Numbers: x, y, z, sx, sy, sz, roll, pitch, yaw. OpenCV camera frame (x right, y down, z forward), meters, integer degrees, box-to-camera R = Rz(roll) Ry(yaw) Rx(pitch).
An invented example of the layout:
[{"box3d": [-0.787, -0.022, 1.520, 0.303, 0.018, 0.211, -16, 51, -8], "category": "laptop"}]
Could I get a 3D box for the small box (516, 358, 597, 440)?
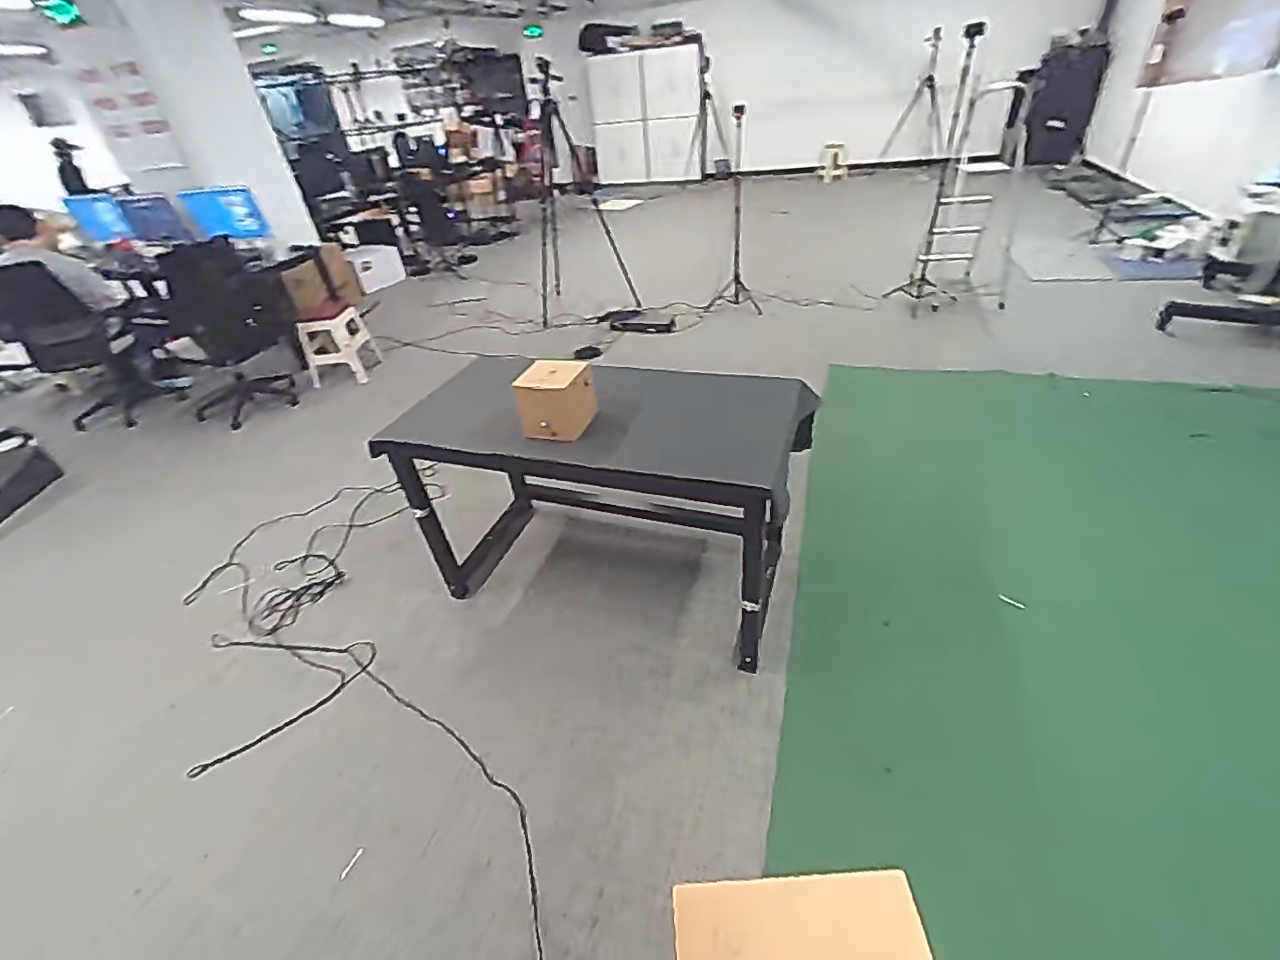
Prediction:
[{"box3d": [-0.232, -0.238, 1.566, 0.168, 0.176, 0.179, 7, 38, 19], "category": "small box"}]
